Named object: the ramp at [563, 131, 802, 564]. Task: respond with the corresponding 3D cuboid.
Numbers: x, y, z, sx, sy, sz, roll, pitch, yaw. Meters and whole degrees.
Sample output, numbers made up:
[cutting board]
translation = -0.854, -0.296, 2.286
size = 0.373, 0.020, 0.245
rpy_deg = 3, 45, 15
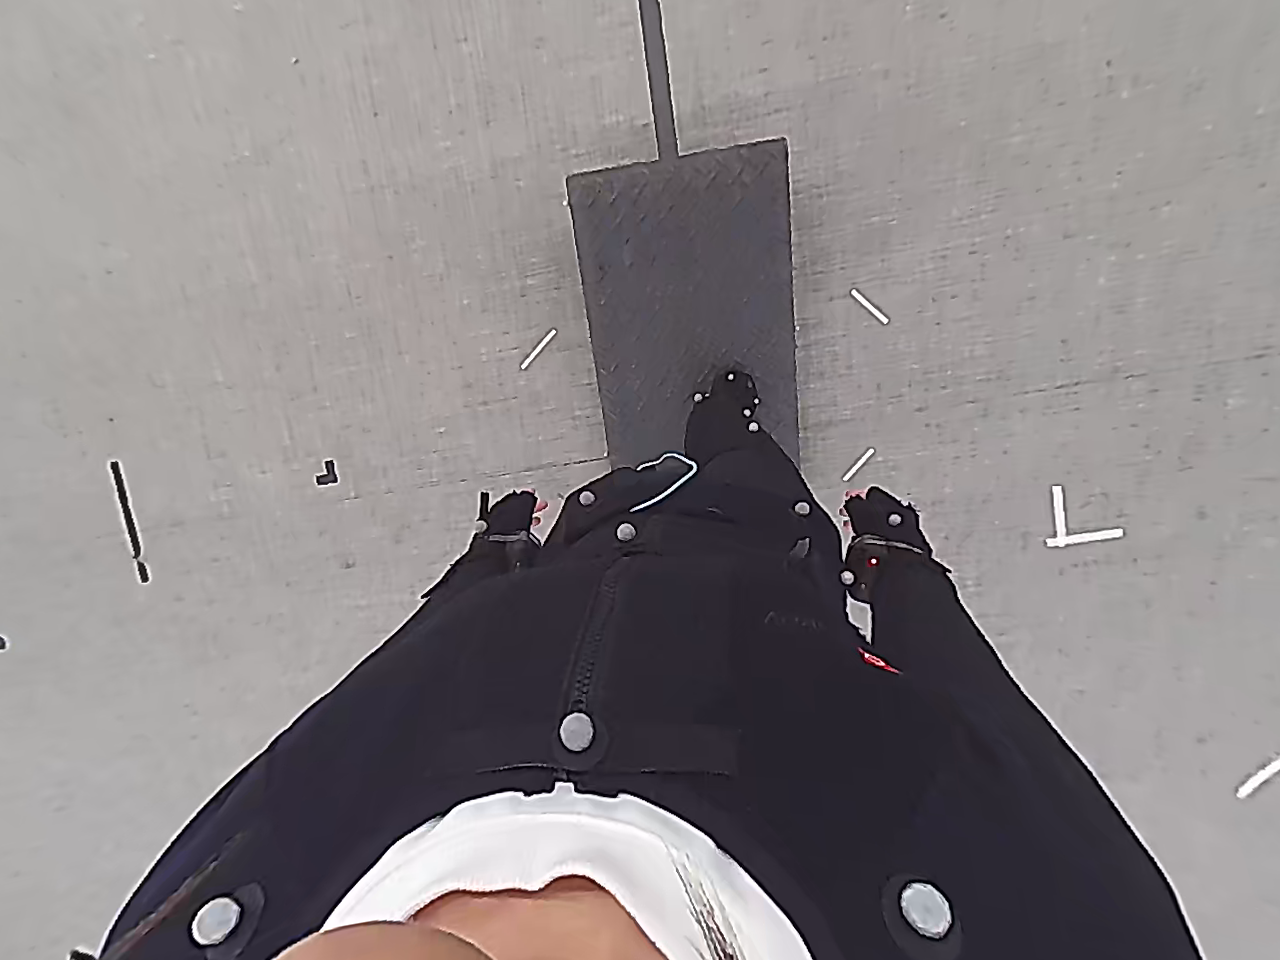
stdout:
[ramp]
translation = 0.136, -0.252, 1.340
size = 0.509, 0.206, 0.991
rpy_deg = -7, 99, 8
